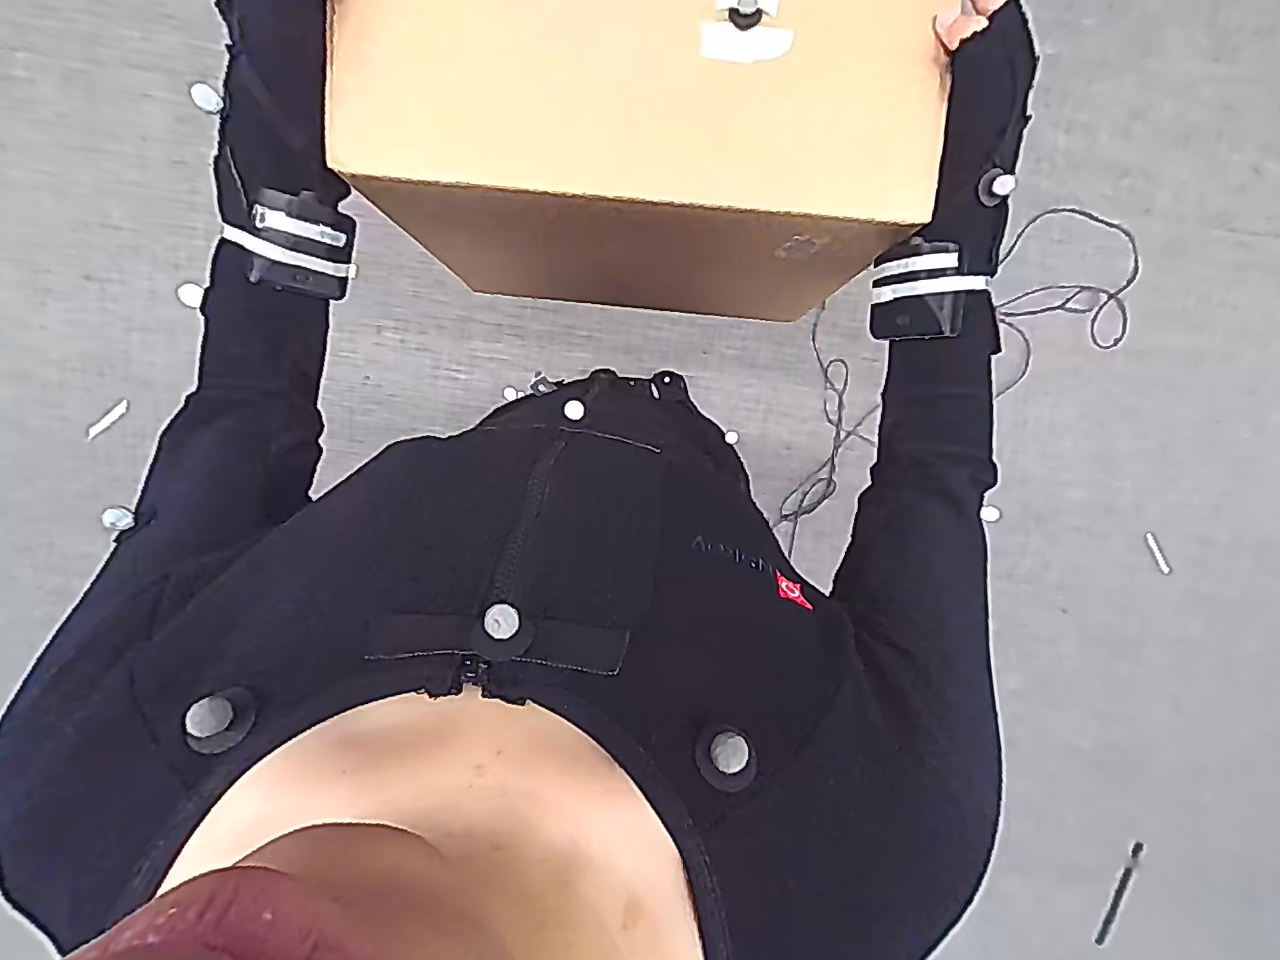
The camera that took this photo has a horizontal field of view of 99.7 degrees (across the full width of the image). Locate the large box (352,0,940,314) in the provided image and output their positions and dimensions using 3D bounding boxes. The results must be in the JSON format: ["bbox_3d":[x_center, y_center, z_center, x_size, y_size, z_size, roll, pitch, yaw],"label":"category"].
[{"bbox_3d":[0.006,-0.360,0.515,0.408,0.320,0.320,5,94,-1],"label":"large box"}]
